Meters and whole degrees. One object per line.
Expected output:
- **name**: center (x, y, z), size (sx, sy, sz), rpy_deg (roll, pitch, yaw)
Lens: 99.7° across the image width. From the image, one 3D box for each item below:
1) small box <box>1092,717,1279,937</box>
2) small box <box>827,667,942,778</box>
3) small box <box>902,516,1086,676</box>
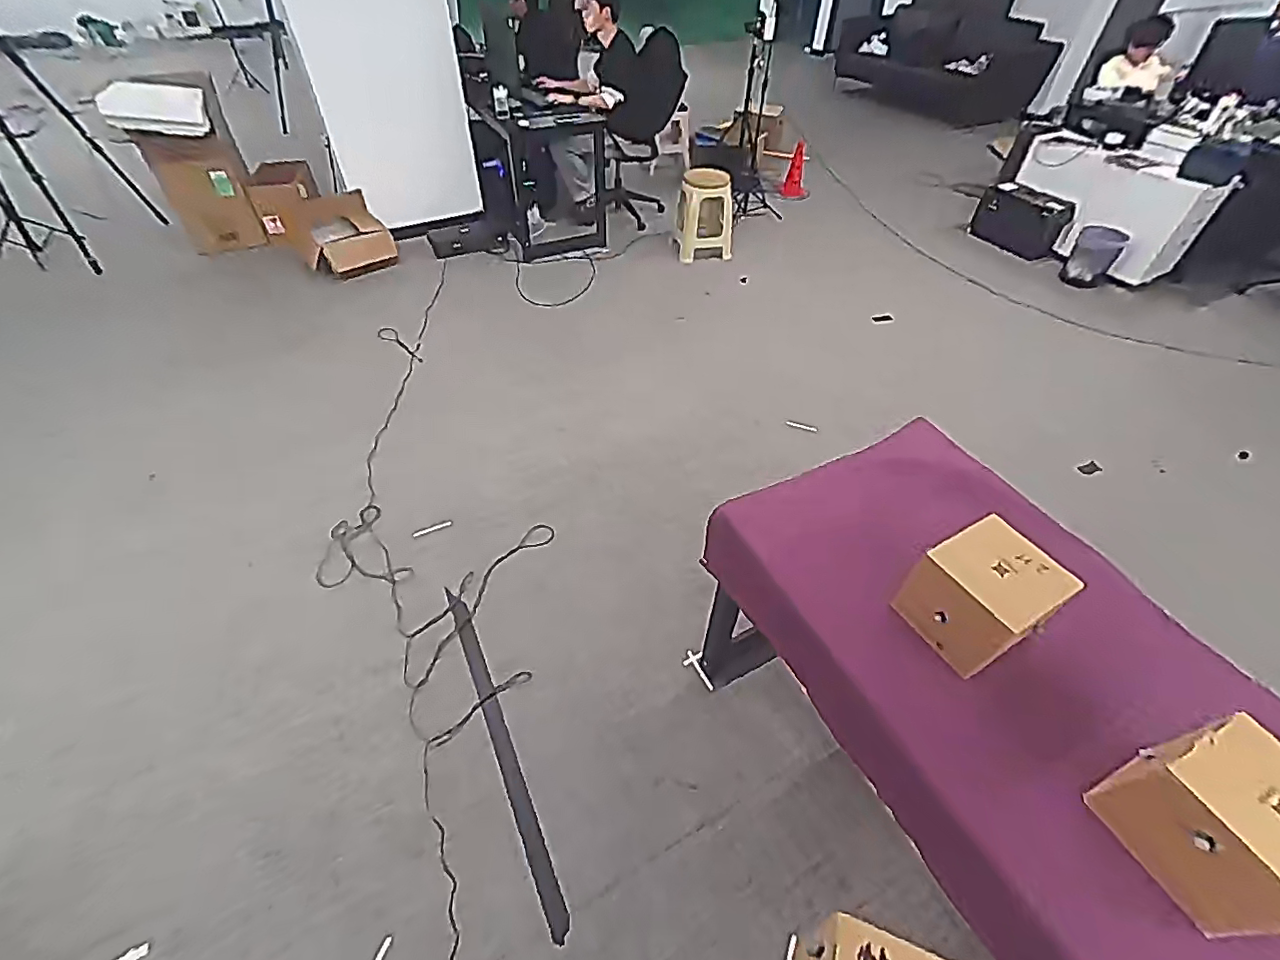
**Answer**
- **small box**: center (0.753, 0.444, 0.690), size (0.168, 0.176, 0.179), rpy_deg (-18, 50, -17)
- **small box**: center (0.604, 0.613, 1.363), size (0.168, 0.176, 0.179), rpy_deg (-23, 54, -21)
- **small box**: center (0.575, 0.197, 0.909), size (0.179, 0.176, 0.168), rpy_deg (-21, 52, -20)
